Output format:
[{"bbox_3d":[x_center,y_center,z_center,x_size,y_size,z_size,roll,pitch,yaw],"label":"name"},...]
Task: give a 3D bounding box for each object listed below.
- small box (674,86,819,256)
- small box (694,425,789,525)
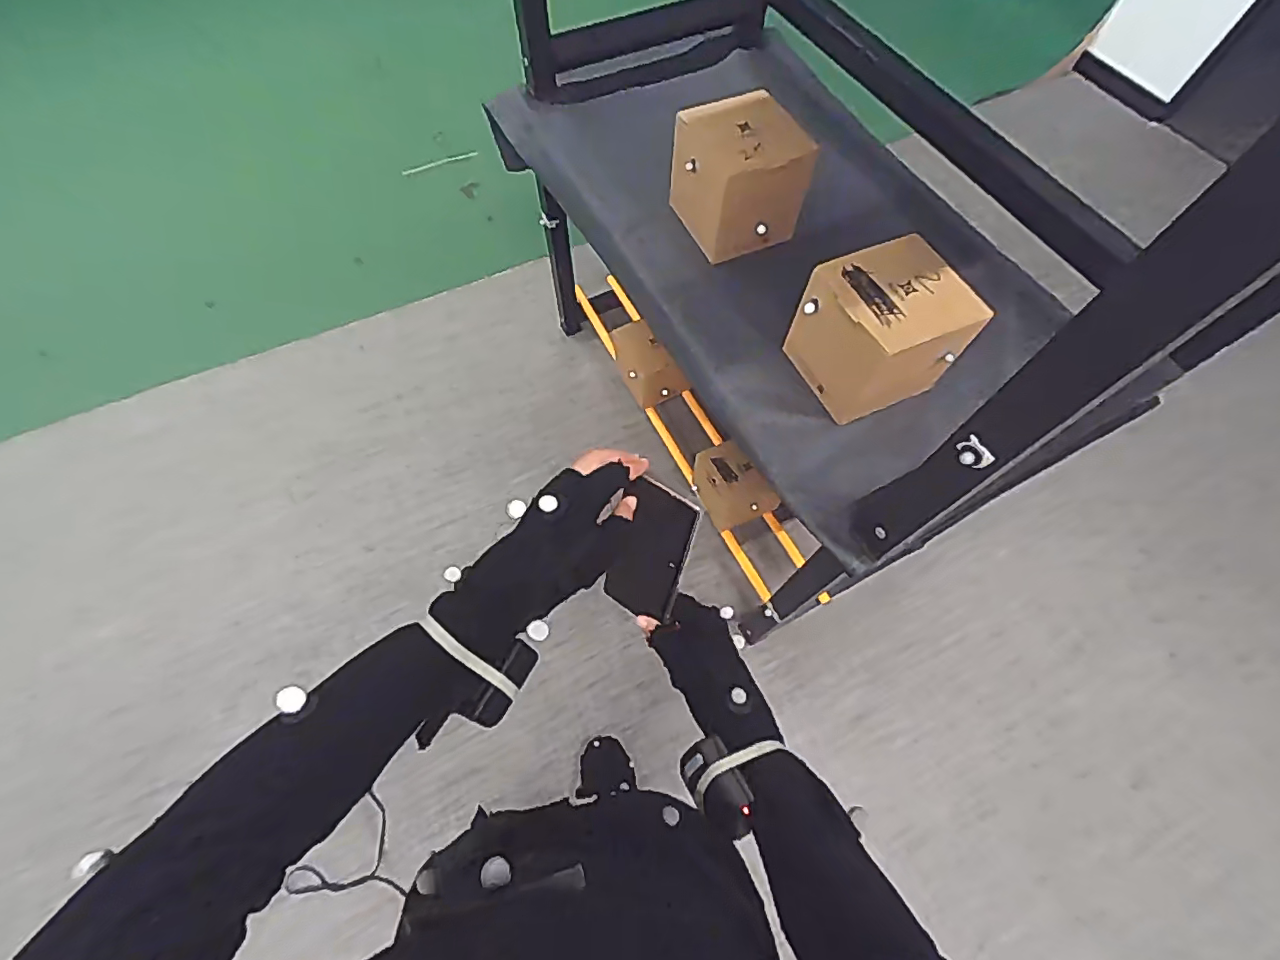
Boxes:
[{"bbox_3d":[0.168,-0.522,0.923,0.168,0.176,0.179,-22,67,-11],"label":"small box"},{"bbox_3d":[0.246,-0.007,1.371,0.179,0.176,0.168,-22,68,-11],"label":"small box"}]
